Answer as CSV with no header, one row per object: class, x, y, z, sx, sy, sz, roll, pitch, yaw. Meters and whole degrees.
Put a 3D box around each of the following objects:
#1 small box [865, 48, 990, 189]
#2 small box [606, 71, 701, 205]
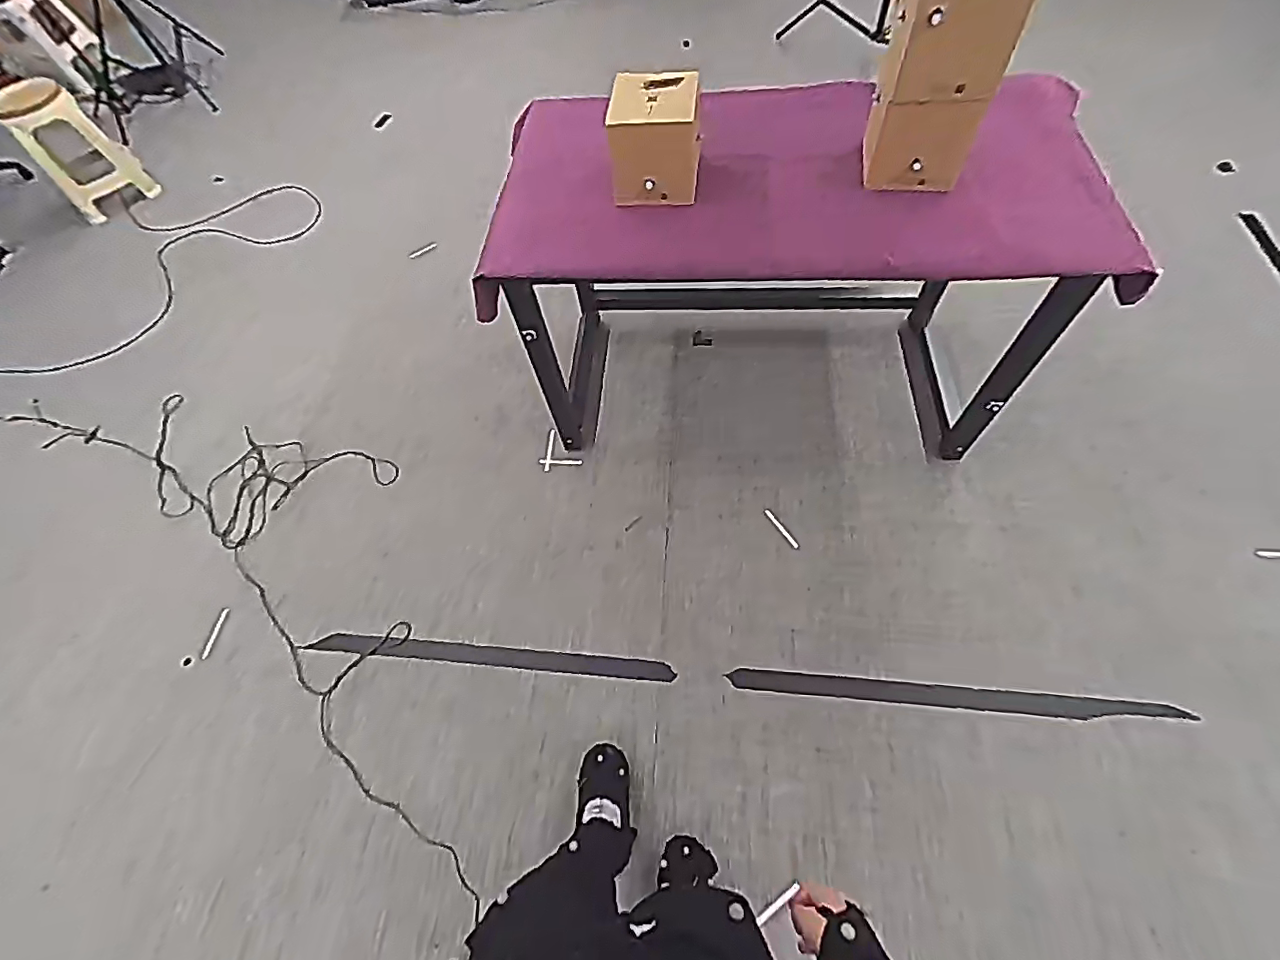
small box,0.538,-0.691,1.038,0.168,0.176,0.179,6,62,10
small box,0.033,-0.684,1.088,0.168,0.176,0.179,3,63,8
